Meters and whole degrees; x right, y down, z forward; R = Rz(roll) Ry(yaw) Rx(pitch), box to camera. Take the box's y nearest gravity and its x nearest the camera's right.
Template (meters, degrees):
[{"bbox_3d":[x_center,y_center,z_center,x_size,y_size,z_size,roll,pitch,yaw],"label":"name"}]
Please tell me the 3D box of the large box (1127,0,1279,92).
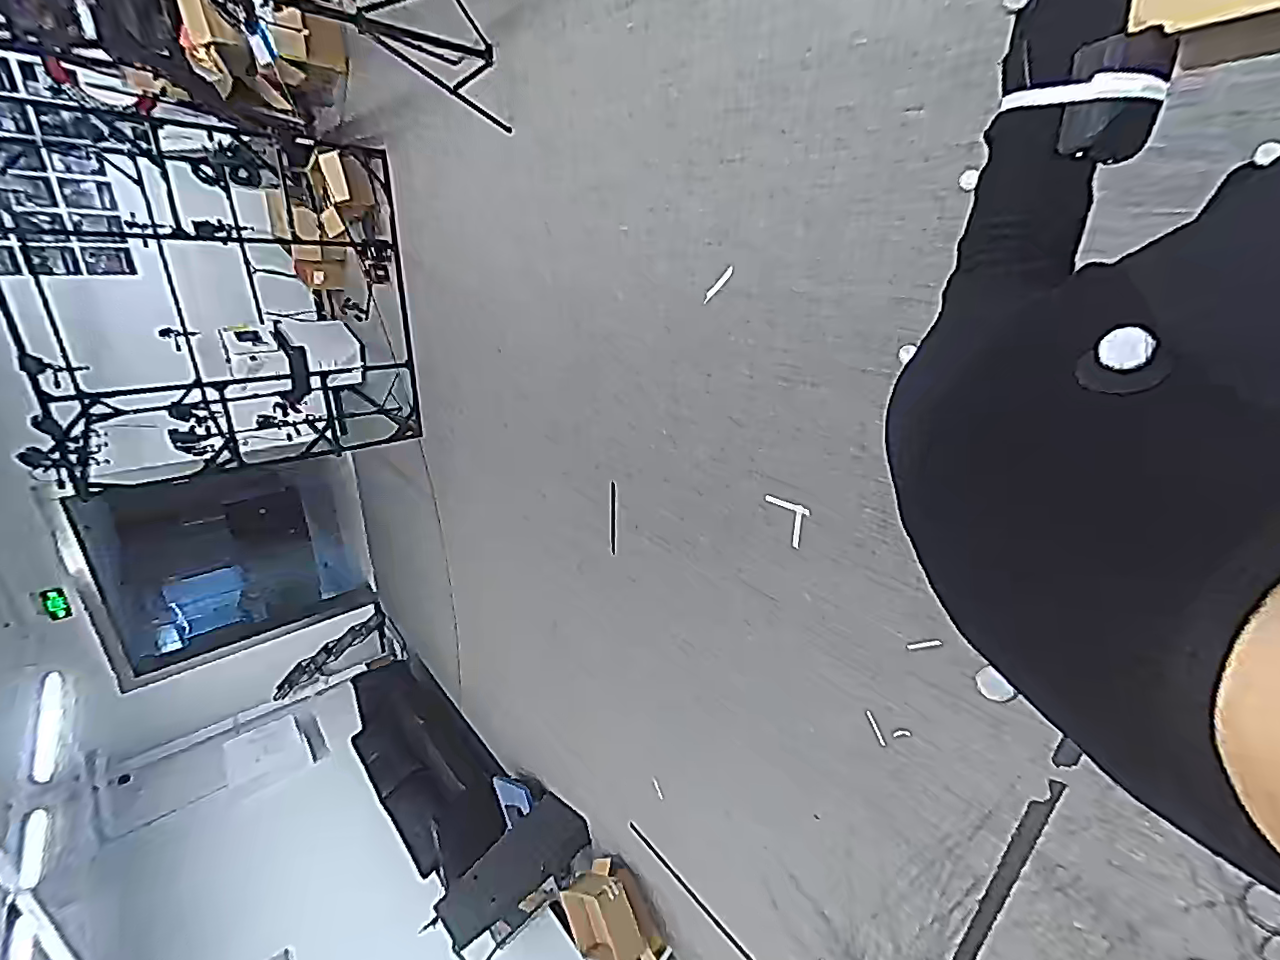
[{"bbox_3d":[0.540,-0.423,0.251,0.408,0.320,0.320,17,126,42],"label":"large box"}]
